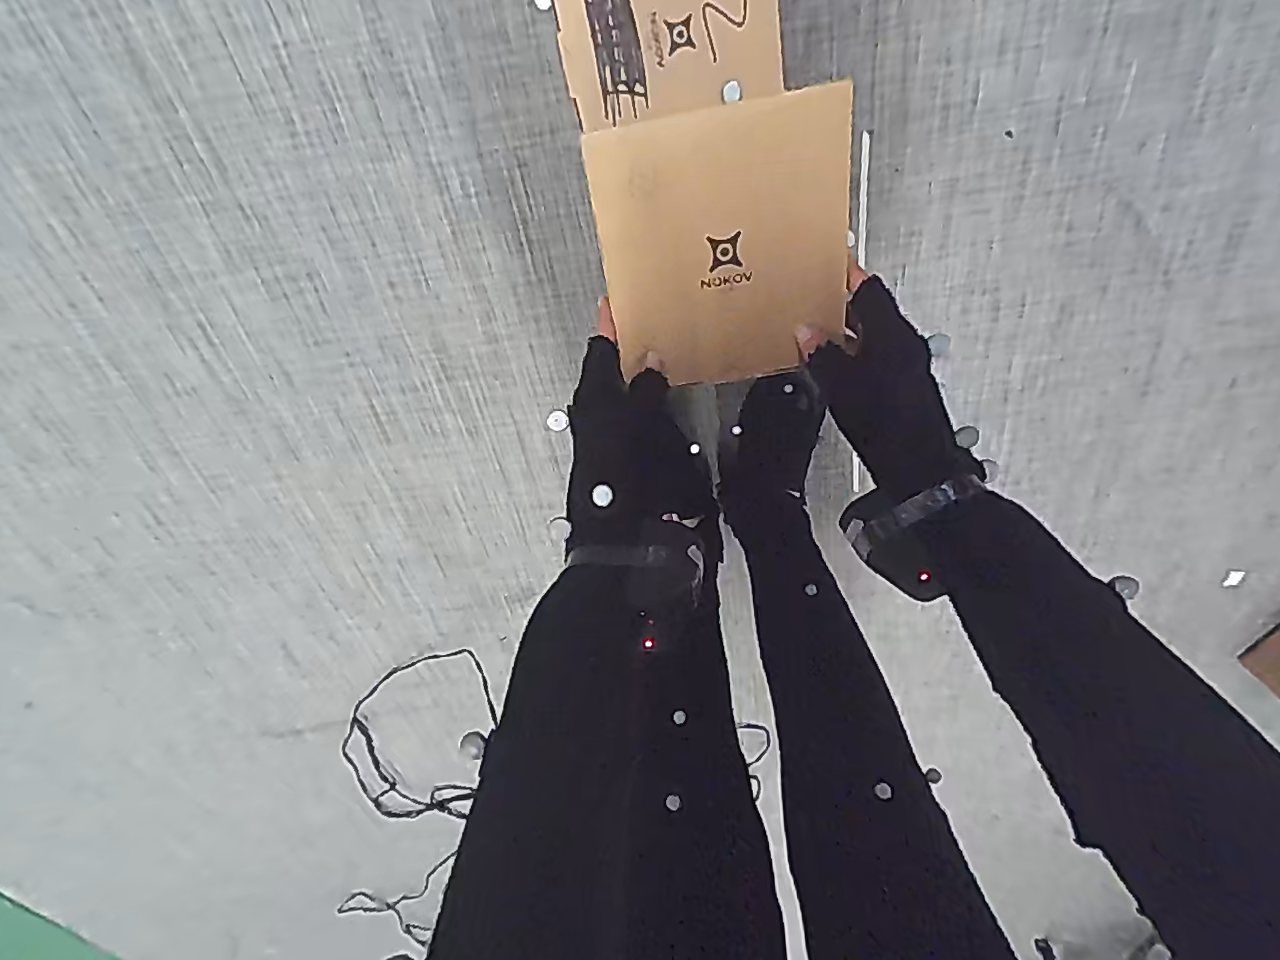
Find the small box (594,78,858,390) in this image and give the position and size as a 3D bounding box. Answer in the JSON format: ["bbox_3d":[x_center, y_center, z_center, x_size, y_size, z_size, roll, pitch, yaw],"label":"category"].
[{"bbox_3d":[0.062,-0.194,0.436,0.168,0.176,0.179,-8,121,5],"label":"small box"}]
